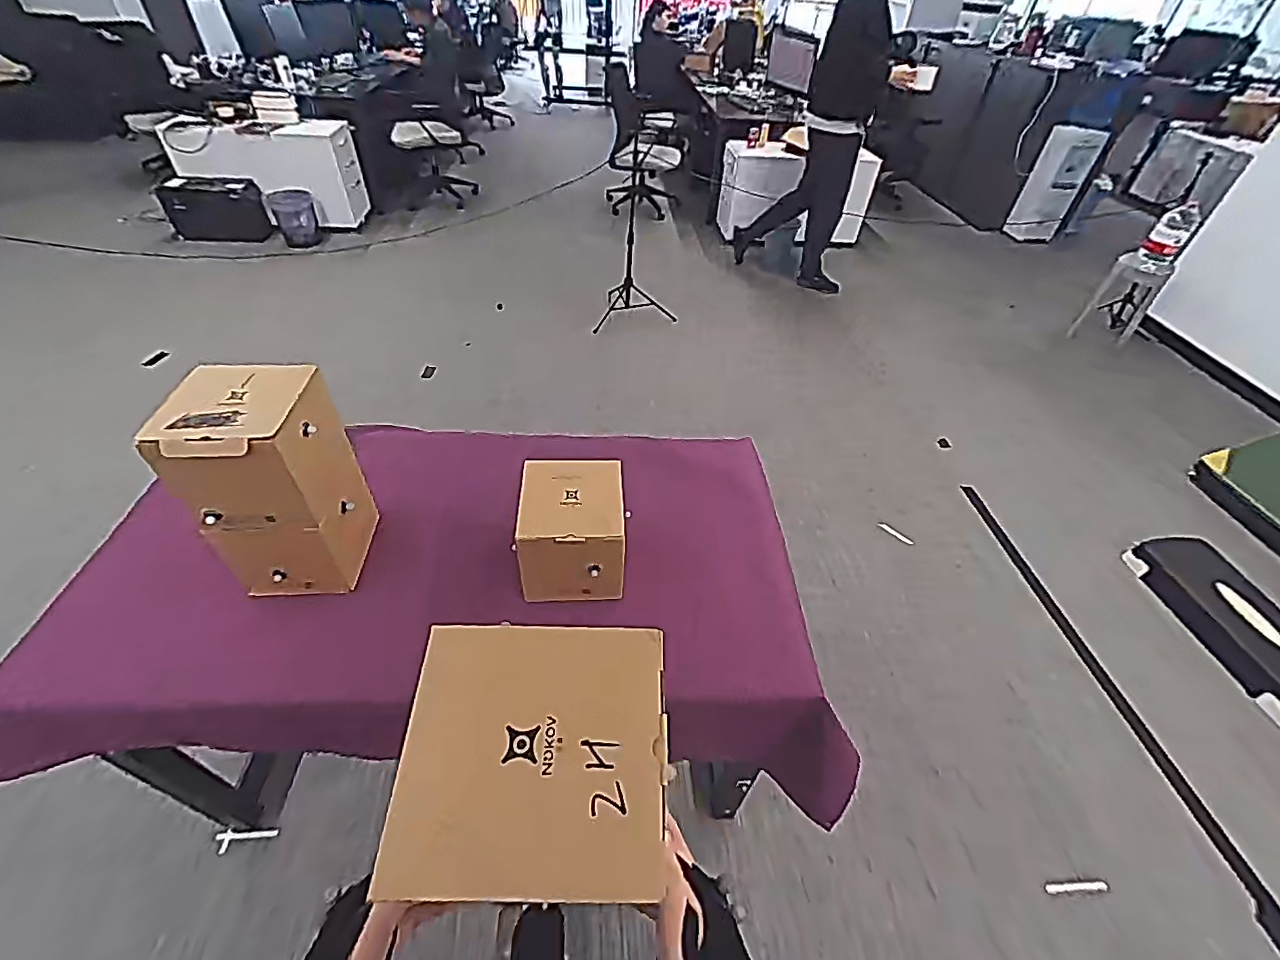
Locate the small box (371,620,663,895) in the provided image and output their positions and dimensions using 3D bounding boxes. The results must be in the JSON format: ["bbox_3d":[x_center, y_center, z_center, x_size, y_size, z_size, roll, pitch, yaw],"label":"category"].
[{"bbox_3d":[-0.073,0.222,0.429,0.179,0.176,0.168,2,55,-1],"label":"small box"}]

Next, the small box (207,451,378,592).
[{"bbox_3d":[-0.559,0.067,0.903,0.168,0.176,0.179,0,45,-6],"label":"small box"}]

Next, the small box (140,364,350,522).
[{"bbox_3d":[-0.550,-0.051,0.789,0.168,0.176,0.179,-1,44,-7],"label":"small box"}]

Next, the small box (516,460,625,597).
[{"bbox_3d":[-0.111,0.086,0.921,0.168,0.176,0.179,1,44,-5],"label":"small box"}]
